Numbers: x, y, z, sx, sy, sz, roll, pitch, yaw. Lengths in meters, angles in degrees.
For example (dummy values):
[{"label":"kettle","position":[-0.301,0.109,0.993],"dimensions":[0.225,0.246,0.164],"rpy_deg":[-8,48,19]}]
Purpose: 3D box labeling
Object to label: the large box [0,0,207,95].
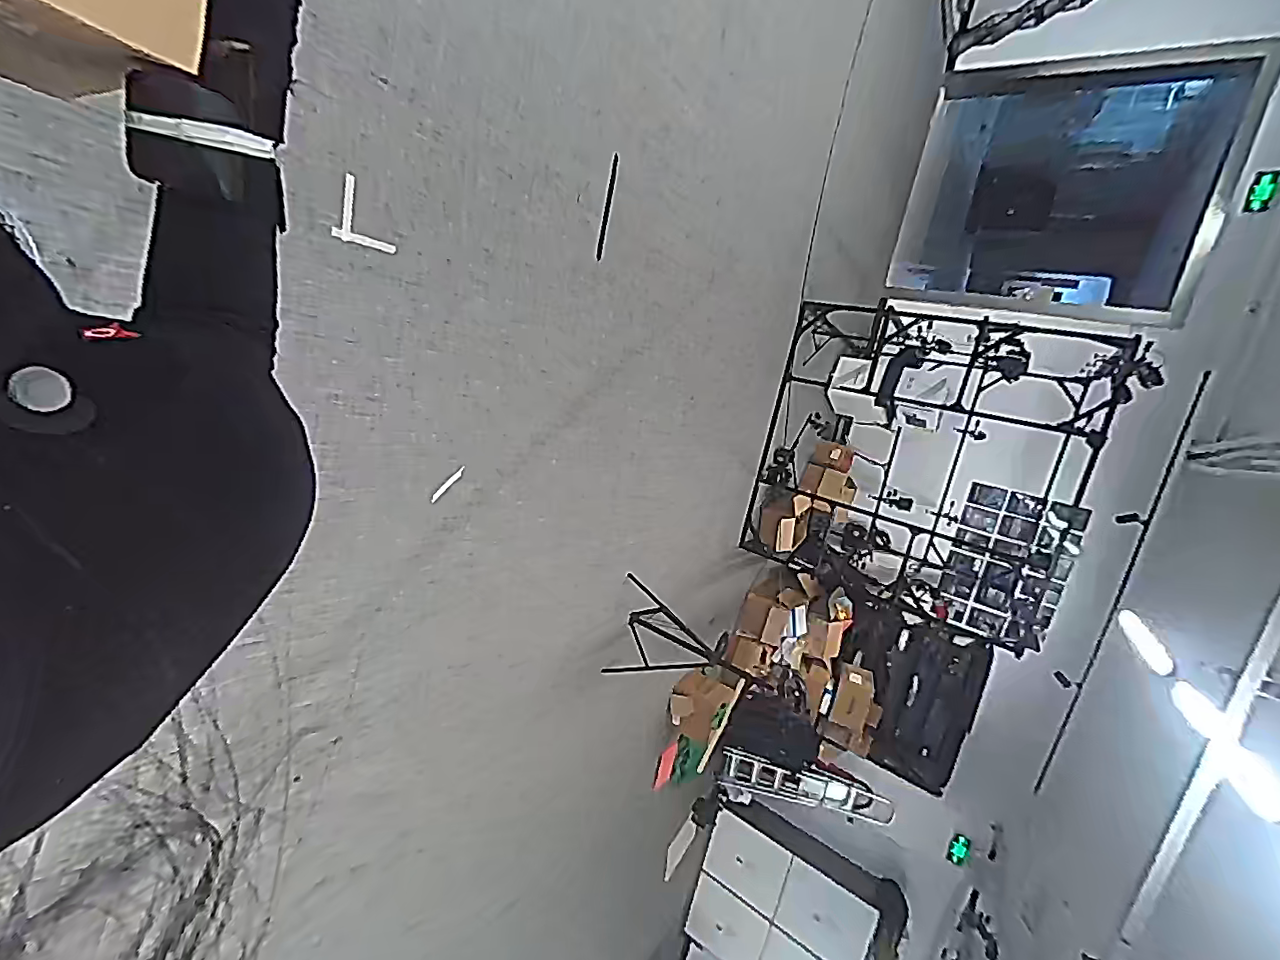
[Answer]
[{"label":"large box","position":[-0.474,-0.440,0.226],"dimensions":[0.408,0.320,0.320],"rpy_deg":[-3,111,-58]}]
